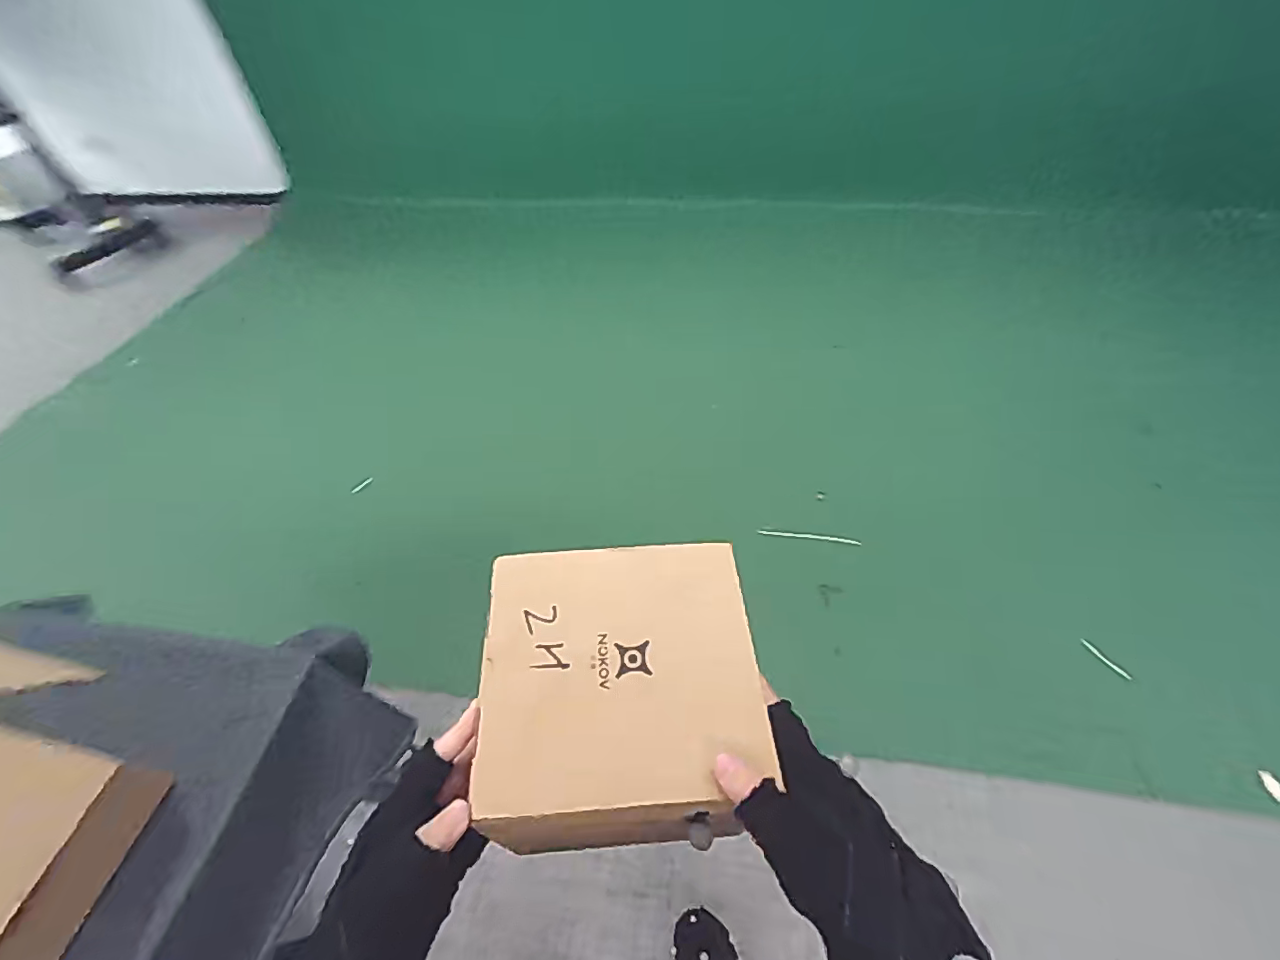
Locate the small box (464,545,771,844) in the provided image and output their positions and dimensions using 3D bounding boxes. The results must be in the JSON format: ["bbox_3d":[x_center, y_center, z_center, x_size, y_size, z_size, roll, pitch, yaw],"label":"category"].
[{"bbox_3d":[-0.019,0.165,0.413,0.179,0.176,0.168,-3,50,-4],"label":"small box"}]
